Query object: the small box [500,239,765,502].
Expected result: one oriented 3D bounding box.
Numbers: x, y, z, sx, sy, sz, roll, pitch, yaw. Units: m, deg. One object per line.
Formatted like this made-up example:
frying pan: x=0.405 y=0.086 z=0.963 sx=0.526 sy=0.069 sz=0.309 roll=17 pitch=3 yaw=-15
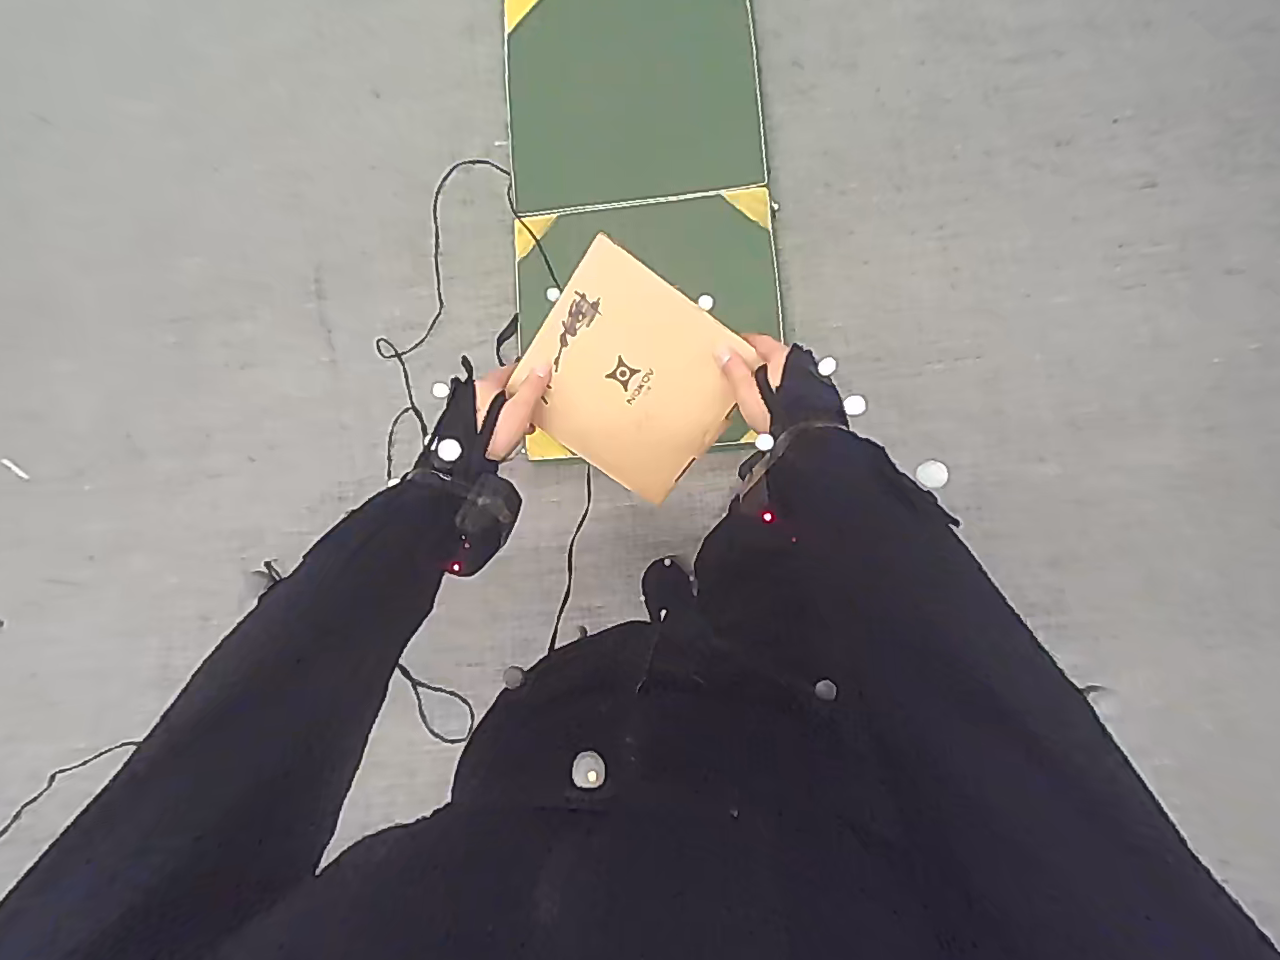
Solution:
small box: x=-0.003 y=-0.113 z=0.543 sx=0.179 sy=0.176 sz=0.168 roll=35 pitch=107 yaw=-8
